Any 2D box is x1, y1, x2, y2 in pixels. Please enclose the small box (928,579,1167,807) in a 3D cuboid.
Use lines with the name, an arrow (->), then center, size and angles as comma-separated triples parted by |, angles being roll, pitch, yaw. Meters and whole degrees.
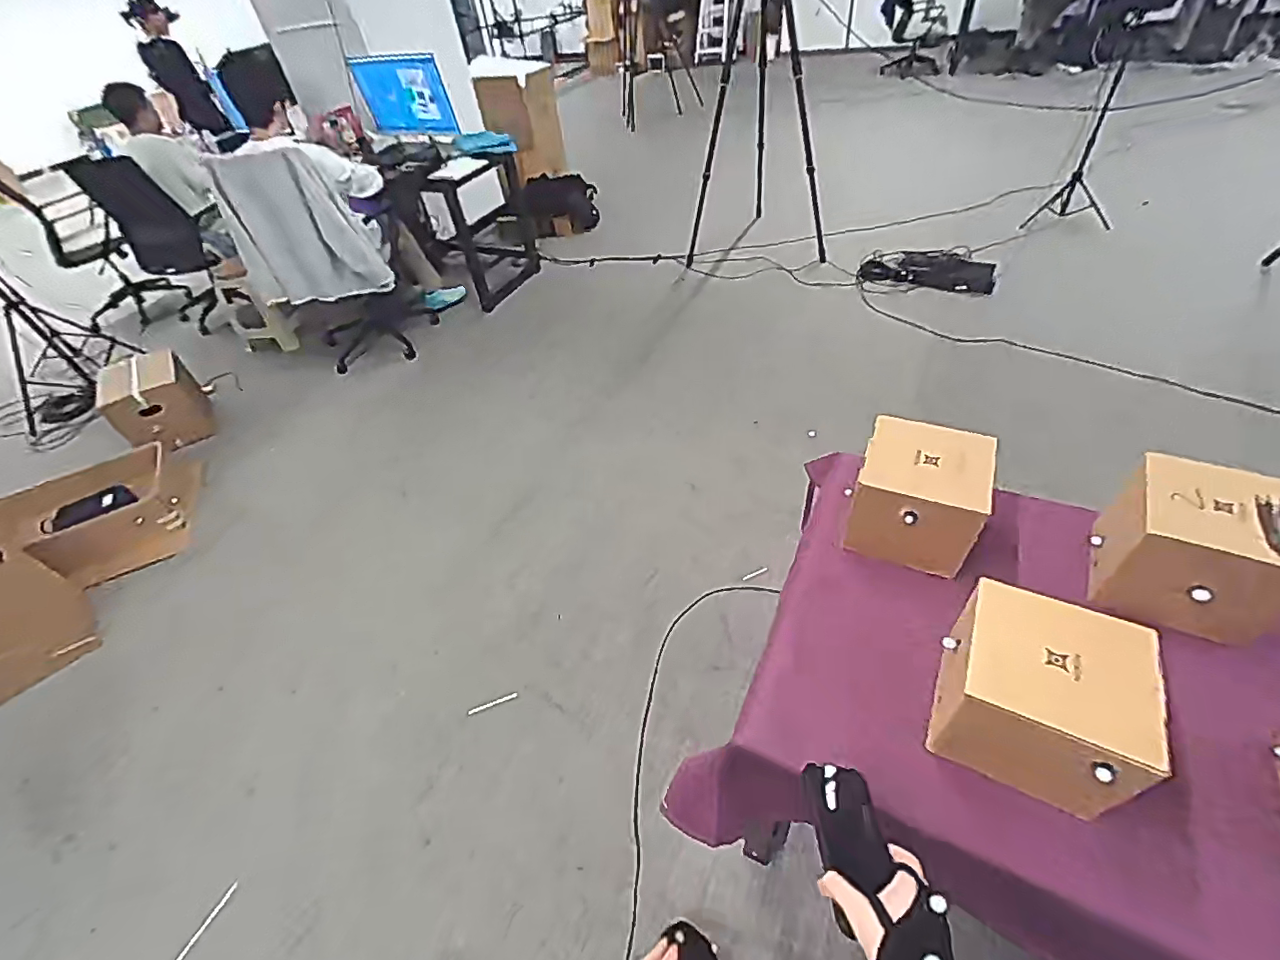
small box -> 0.466, 0.255, 0.645 | 0.179, 0.176, 0.168 | 18, 51, 23
